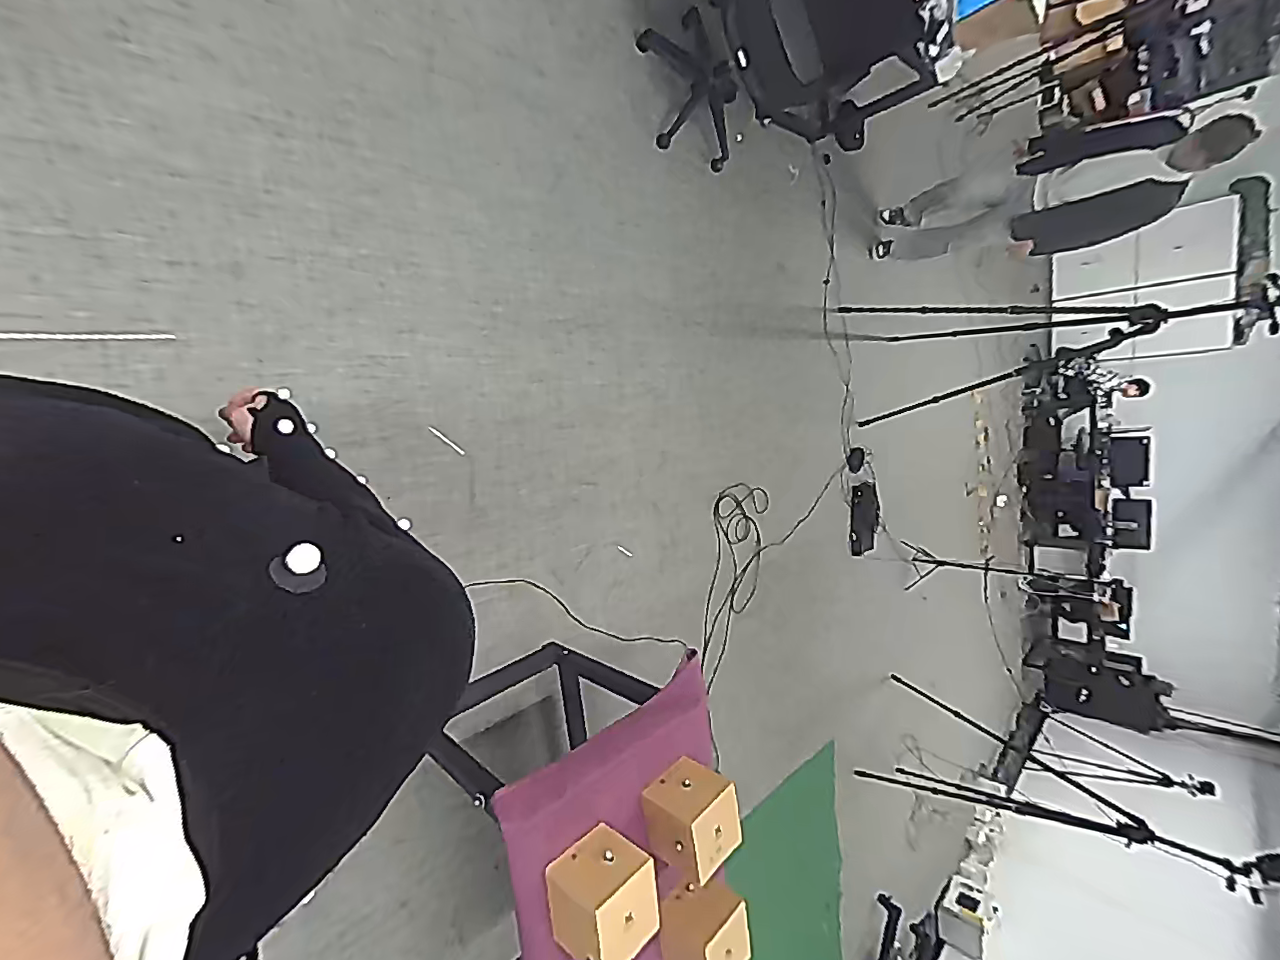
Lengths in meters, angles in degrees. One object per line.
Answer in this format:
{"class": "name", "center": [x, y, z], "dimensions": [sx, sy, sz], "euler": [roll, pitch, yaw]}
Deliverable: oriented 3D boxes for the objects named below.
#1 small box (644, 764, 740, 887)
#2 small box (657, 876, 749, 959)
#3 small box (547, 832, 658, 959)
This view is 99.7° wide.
{"class": "small box", "center": [0.125, 0.846, 1.351], "dimensions": [0.168, 0.176, 0.179], "euler": [-18, 104, -42]}
{"class": "small box", "center": [0.161, 1.178, 1.401], "dimensions": [0.168, 0.176, 0.179], "euler": [-16, 102, -43]}
{"class": "small box", "center": [-0.082, 0.896, 1.153], "dimensions": [0.168, 0.176, 0.179], "euler": [-13, 102, -44]}
